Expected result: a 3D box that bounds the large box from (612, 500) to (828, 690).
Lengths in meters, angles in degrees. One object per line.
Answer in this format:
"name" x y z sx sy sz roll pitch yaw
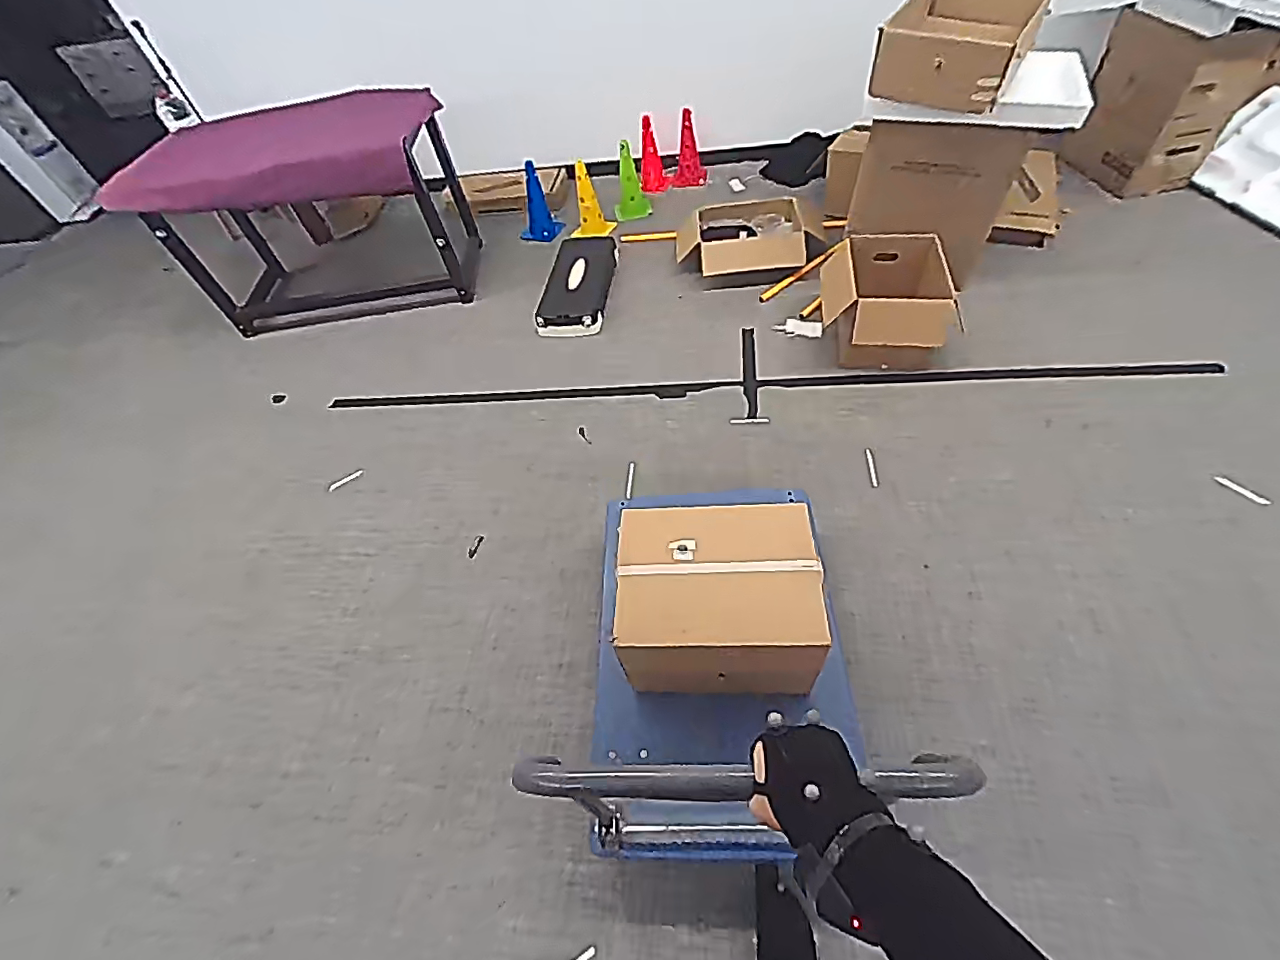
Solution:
"large box" 0.169 0.267 1.199 0.408 0.320 0.320 -4 52 8
